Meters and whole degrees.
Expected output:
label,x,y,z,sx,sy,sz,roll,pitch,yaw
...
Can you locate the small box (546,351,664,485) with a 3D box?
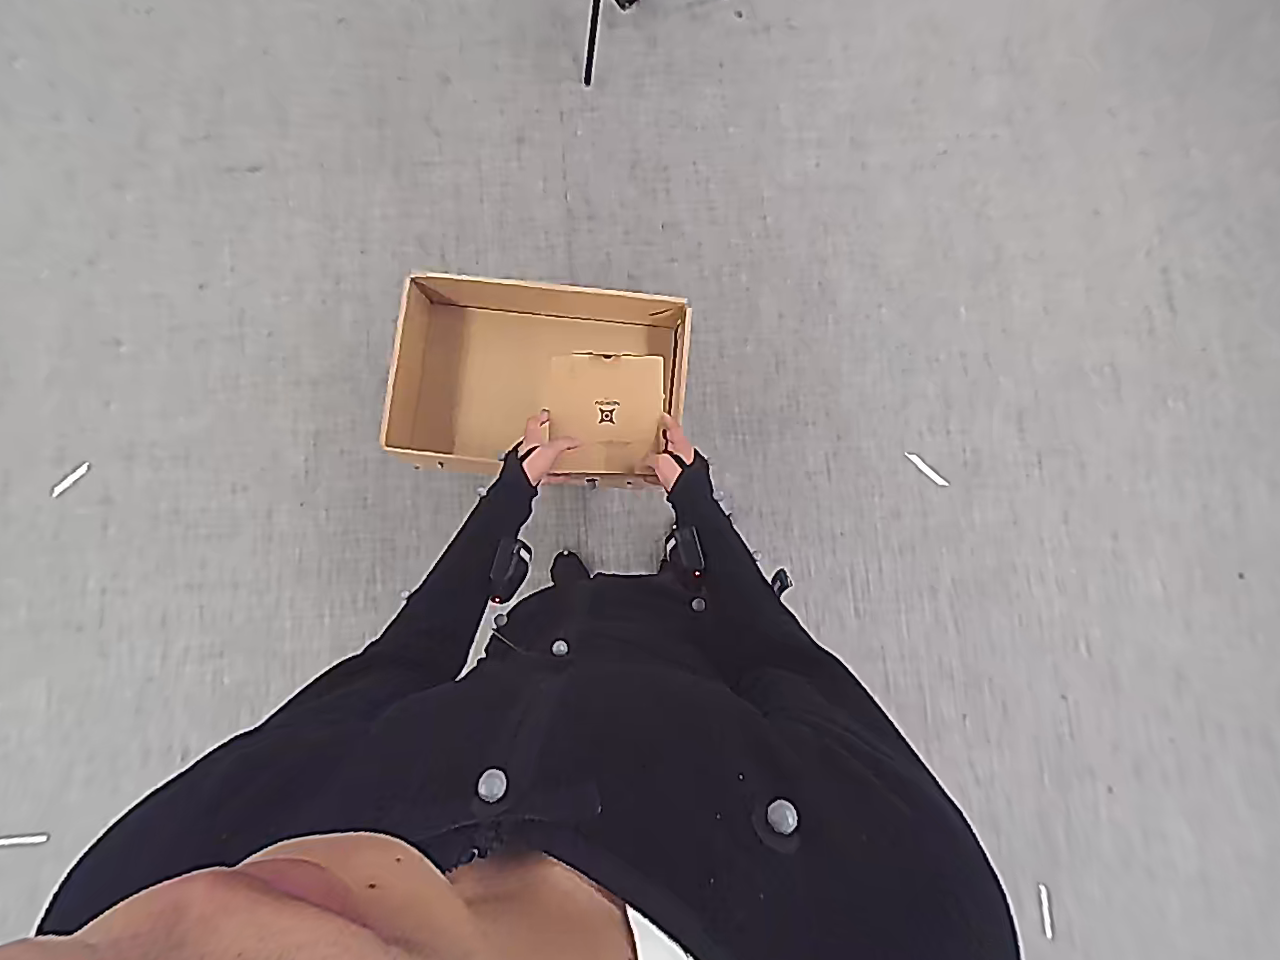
label,x,y,z,sx,sy,sz,roll,pitch,yaw
small box,-0.058,-0.087,0.841,0.168,0.176,0.179,1,86,-6
